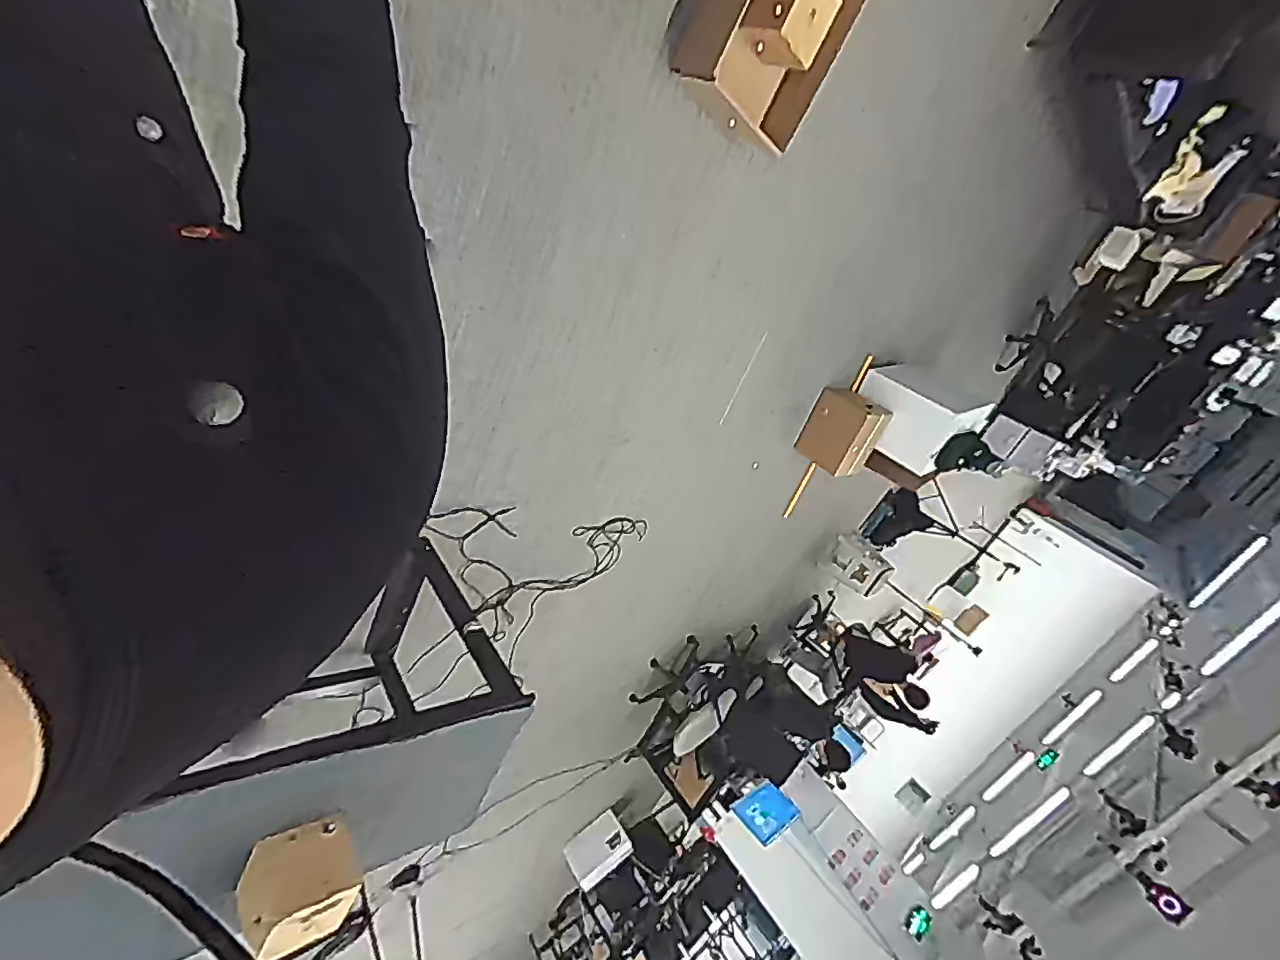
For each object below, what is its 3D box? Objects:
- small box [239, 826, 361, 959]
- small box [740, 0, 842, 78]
[{"bbox_3d":[-0.726,0.874,1.147,0.168,0.176,0.179,9,118,-49],"label":"small box"},{"bbox_3d":[0.401,-1.235,1.454,0.168,0.176,0.179,5,119,-49],"label":"small box"}]
